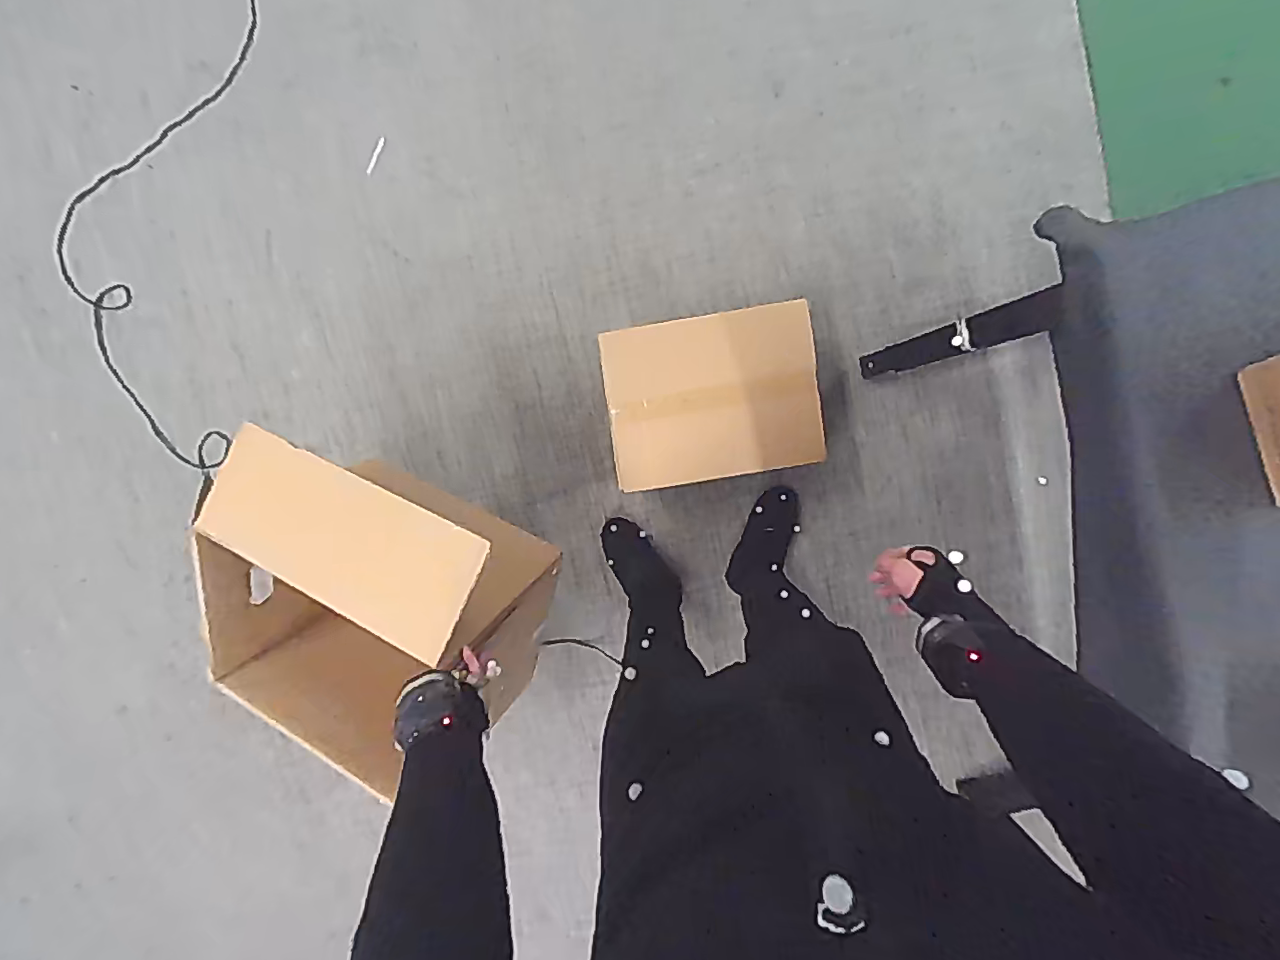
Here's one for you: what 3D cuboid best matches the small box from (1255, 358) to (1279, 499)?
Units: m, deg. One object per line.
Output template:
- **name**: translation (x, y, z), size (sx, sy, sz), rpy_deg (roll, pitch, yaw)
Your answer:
- **small box**: translation (0.766, -0.066, 0.520), size (0.179, 0.176, 0.168), rpy_deg (-22, 95, 0)
